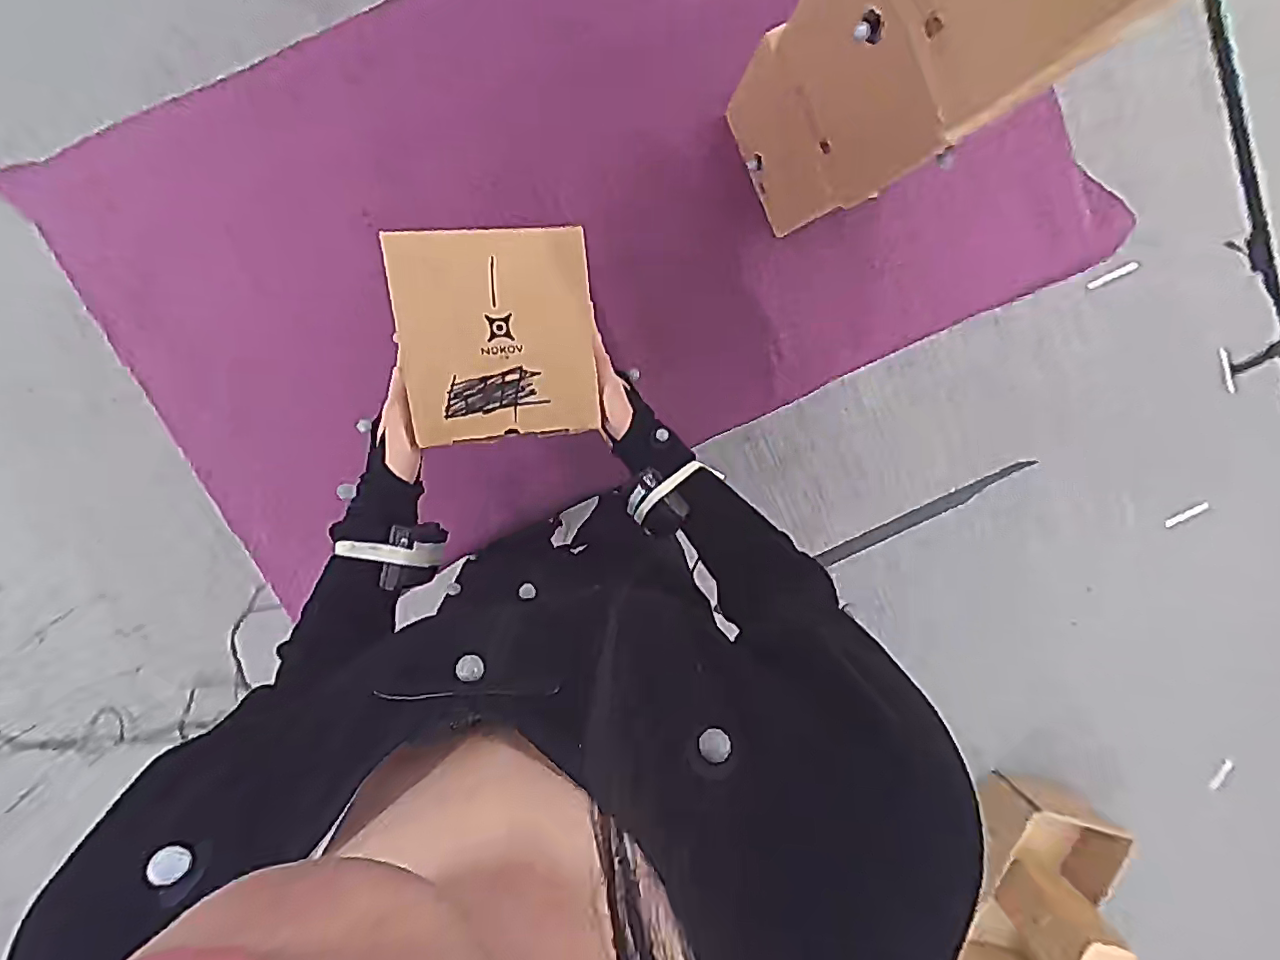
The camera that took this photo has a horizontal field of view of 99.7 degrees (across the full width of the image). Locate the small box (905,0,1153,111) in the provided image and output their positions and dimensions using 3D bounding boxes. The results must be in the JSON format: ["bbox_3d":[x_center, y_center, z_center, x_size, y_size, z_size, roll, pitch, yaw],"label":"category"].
[{"bbox_3d":[0.256,-0.351,0.293,0.179,0.176,0.168,-30,102,1],"label":"small box"}]

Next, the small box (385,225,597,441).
[{"bbox_3d":[-0.139,-0.141,0.539,0.168,0.176,0.179,-6,103,-14],"label":"small box"}]

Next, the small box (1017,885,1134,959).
[{"bbox_3d":[1.282,1.351,1.604,0.179,0.176,0.168,21,97,-9],"label":"small box"}]

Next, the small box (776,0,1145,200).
[{"bbox_3d":[0.246,-0.375,0.454,0.179,0.176,0.168,-31,102,0],"label":"small box"}]

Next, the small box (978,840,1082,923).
[{"bbox_3d":[1.263,1.319,1.762,0.179,0.176,0.168,23,97,-10],"label":"small box"}]
